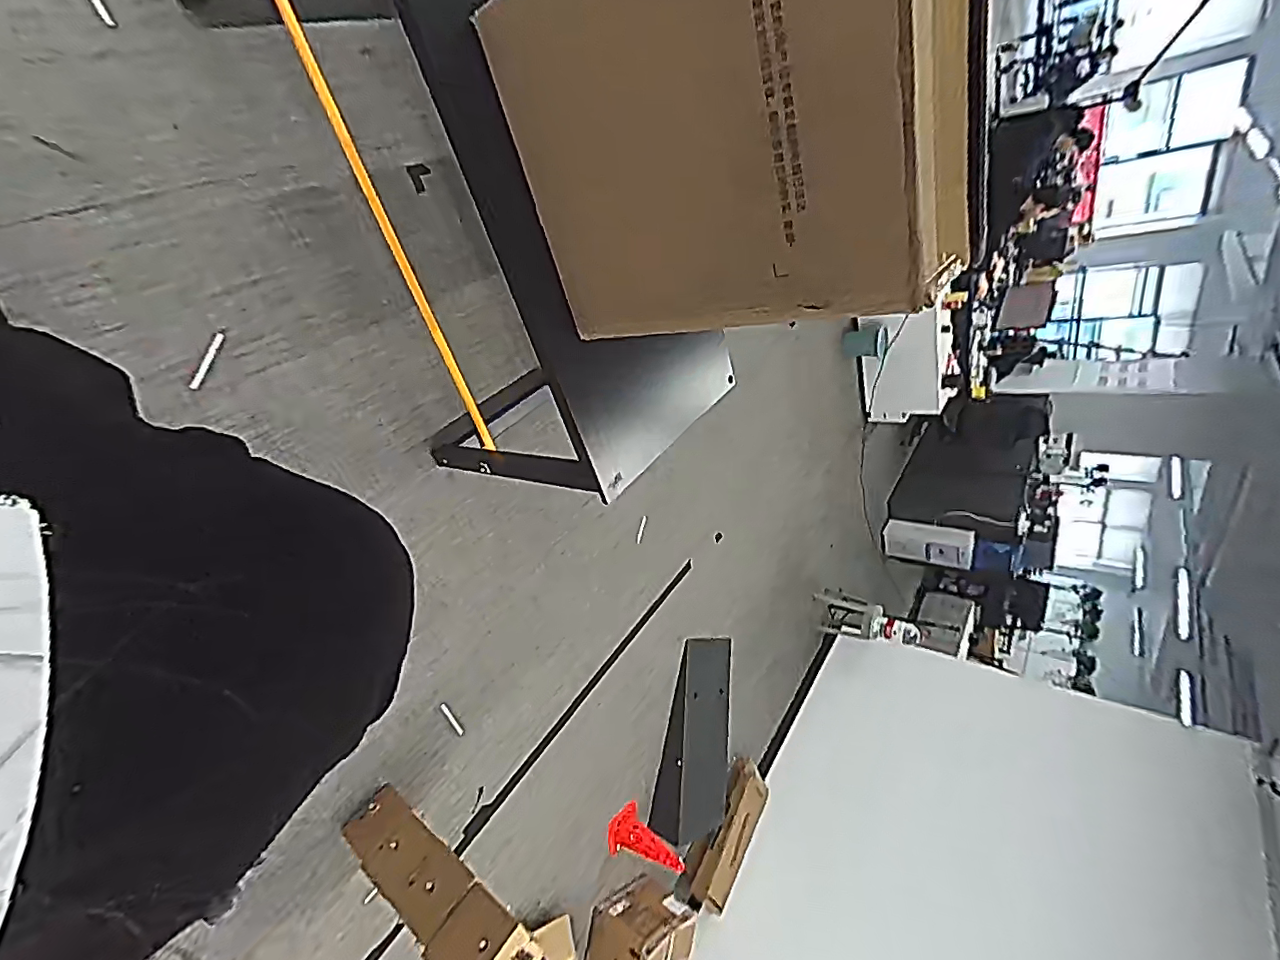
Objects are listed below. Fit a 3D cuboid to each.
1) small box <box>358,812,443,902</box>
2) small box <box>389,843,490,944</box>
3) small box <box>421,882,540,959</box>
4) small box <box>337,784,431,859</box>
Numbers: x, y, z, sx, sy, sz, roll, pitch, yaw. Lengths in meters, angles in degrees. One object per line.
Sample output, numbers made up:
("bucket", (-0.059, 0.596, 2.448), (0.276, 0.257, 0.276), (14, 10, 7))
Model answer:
("small box", (-0.626, 1.055, 1.479), (0.168, 0.176, 0.179), (-43, 128, -39))
("small box", (-0.500, 1.072, 1.376), (0.168, 0.176, 0.179), (-43, 127, -39))
("small box", (-0.374, 1.103, 1.272), (0.179, 0.176, 0.168), (-44, 128, -37))
("small box", (-0.746, 1.039, 1.591), (0.168, 0.176, 0.179), (-44, 127, -38))
